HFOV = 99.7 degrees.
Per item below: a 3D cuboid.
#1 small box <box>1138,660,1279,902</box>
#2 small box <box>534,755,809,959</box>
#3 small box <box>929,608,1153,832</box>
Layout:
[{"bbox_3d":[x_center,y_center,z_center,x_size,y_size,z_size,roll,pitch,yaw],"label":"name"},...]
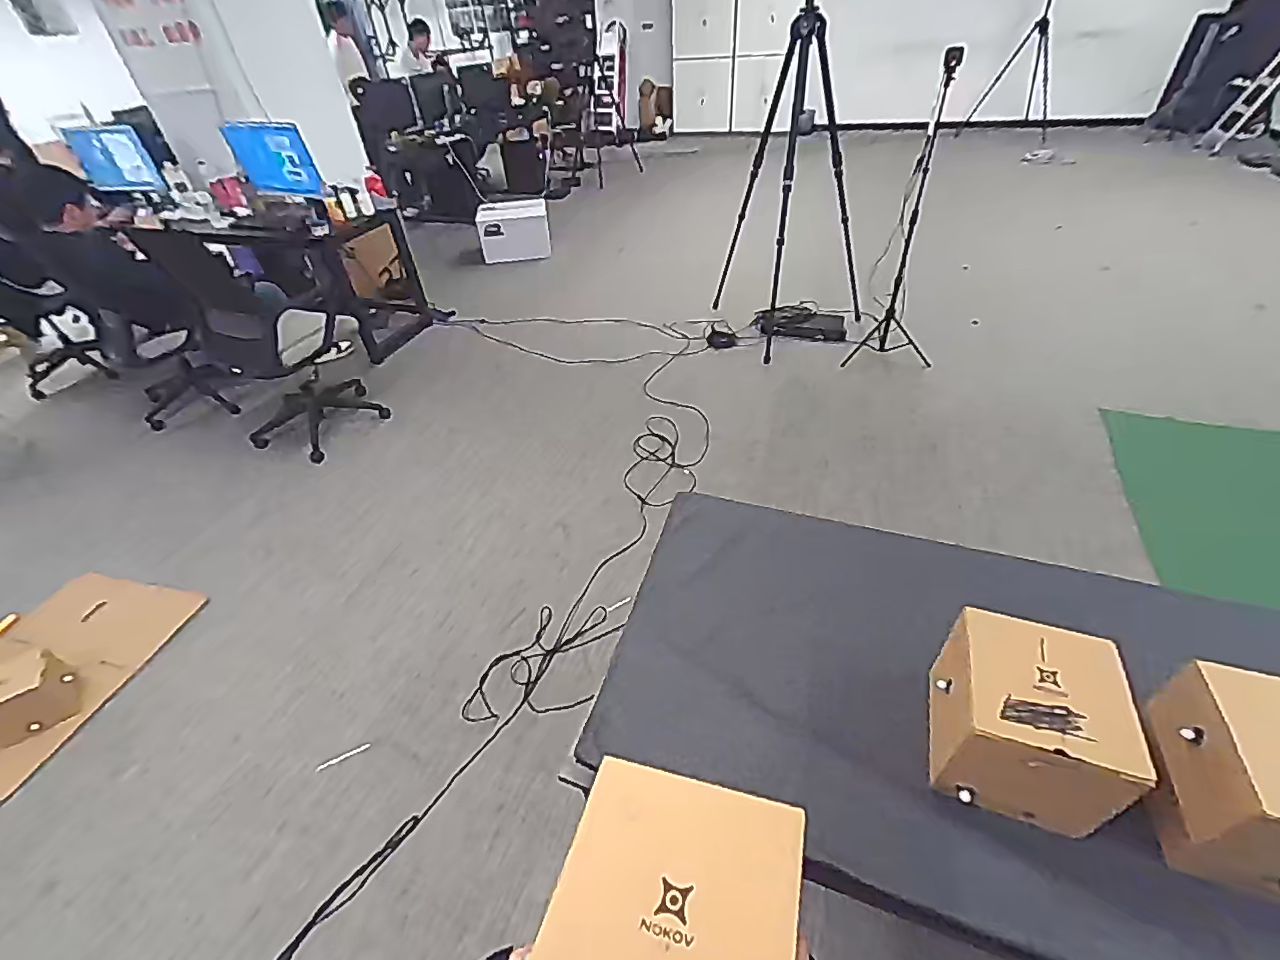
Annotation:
[{"bbox_3d":[0.700,0.339,0.599,0.168,0.176,0.179,10,42,17],"label":"small box"},{"bbox_3d":[0.030,0.353,0.411,0.168,0.176,0.179,7,38,16],"label":"small box"},{"bbox_3d":[0.473,0.297,0.672,0.168,0.176,0.179,12,42,18],"label":"small box"}]
